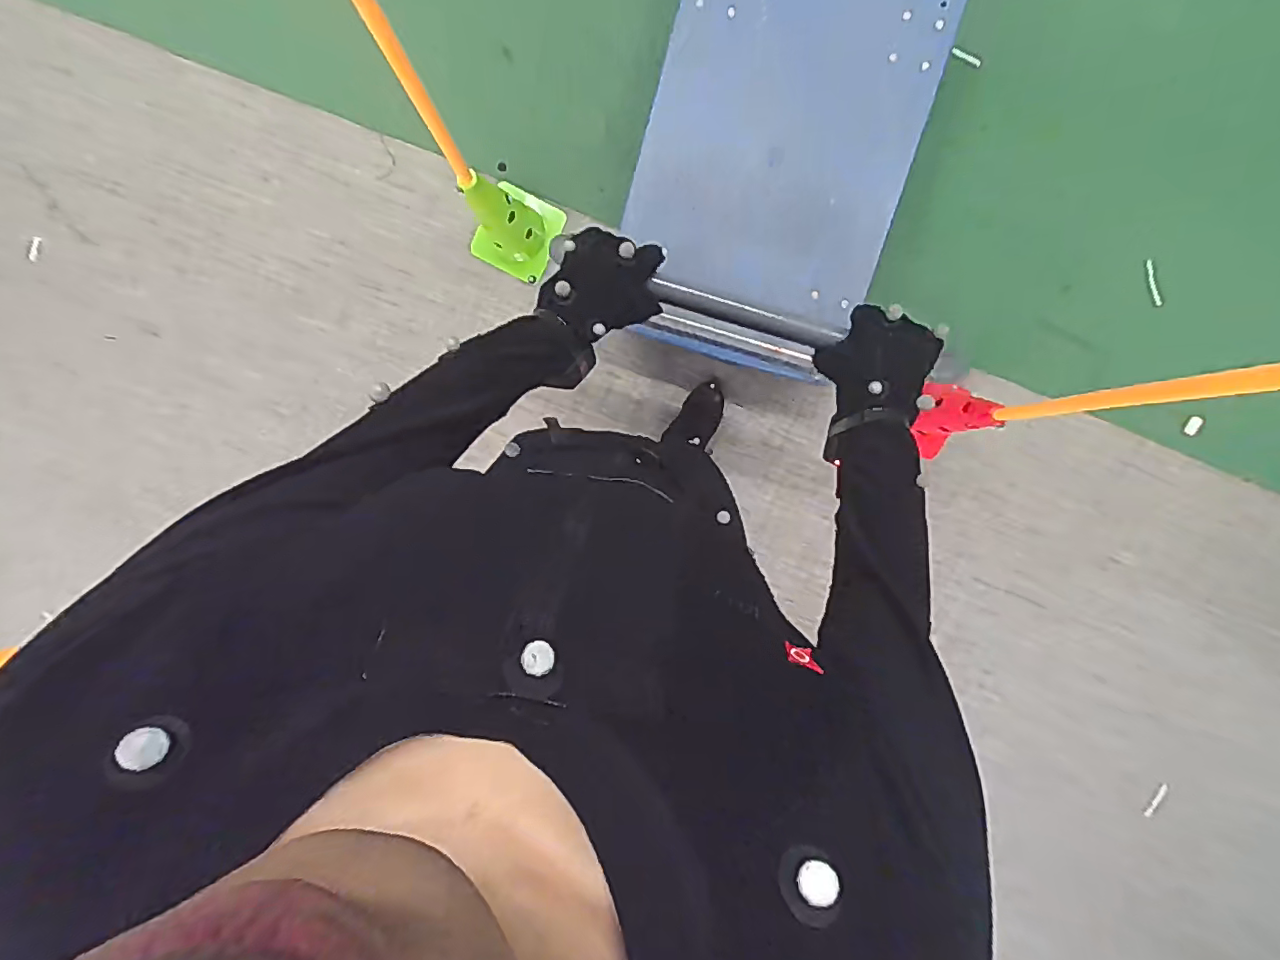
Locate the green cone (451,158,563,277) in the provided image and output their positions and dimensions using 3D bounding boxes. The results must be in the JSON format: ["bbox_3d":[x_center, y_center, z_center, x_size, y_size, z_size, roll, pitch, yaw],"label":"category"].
[{"bbox_3d":[-0.331,-0.632,1.228,0.202,0.368,0.200,27,99,0],"label":"green cone"}]
